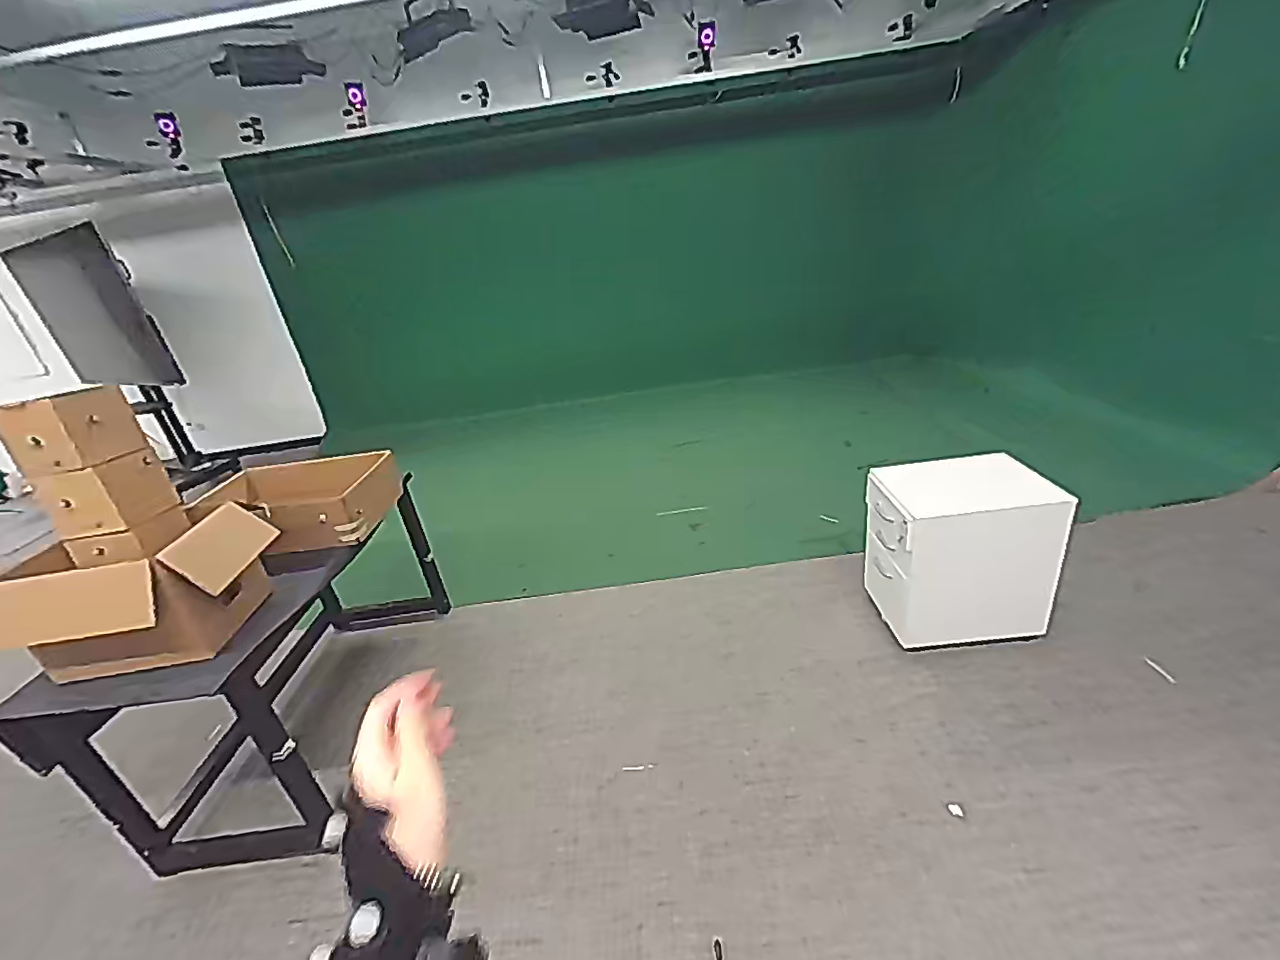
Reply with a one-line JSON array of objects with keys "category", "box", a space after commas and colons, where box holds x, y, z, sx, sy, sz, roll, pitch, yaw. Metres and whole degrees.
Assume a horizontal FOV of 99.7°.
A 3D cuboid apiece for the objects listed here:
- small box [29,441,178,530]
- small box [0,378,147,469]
[{"category": "small box", "box": [-1.326, 0.018, 1.354, 0.168, 0.176, 0.179, -9, 21, 2]}, {"category": "small box", "box": [-1.355, -0.132, 1.295, 0.168, 0.176, 0.179, -8, 22, 4]}]
